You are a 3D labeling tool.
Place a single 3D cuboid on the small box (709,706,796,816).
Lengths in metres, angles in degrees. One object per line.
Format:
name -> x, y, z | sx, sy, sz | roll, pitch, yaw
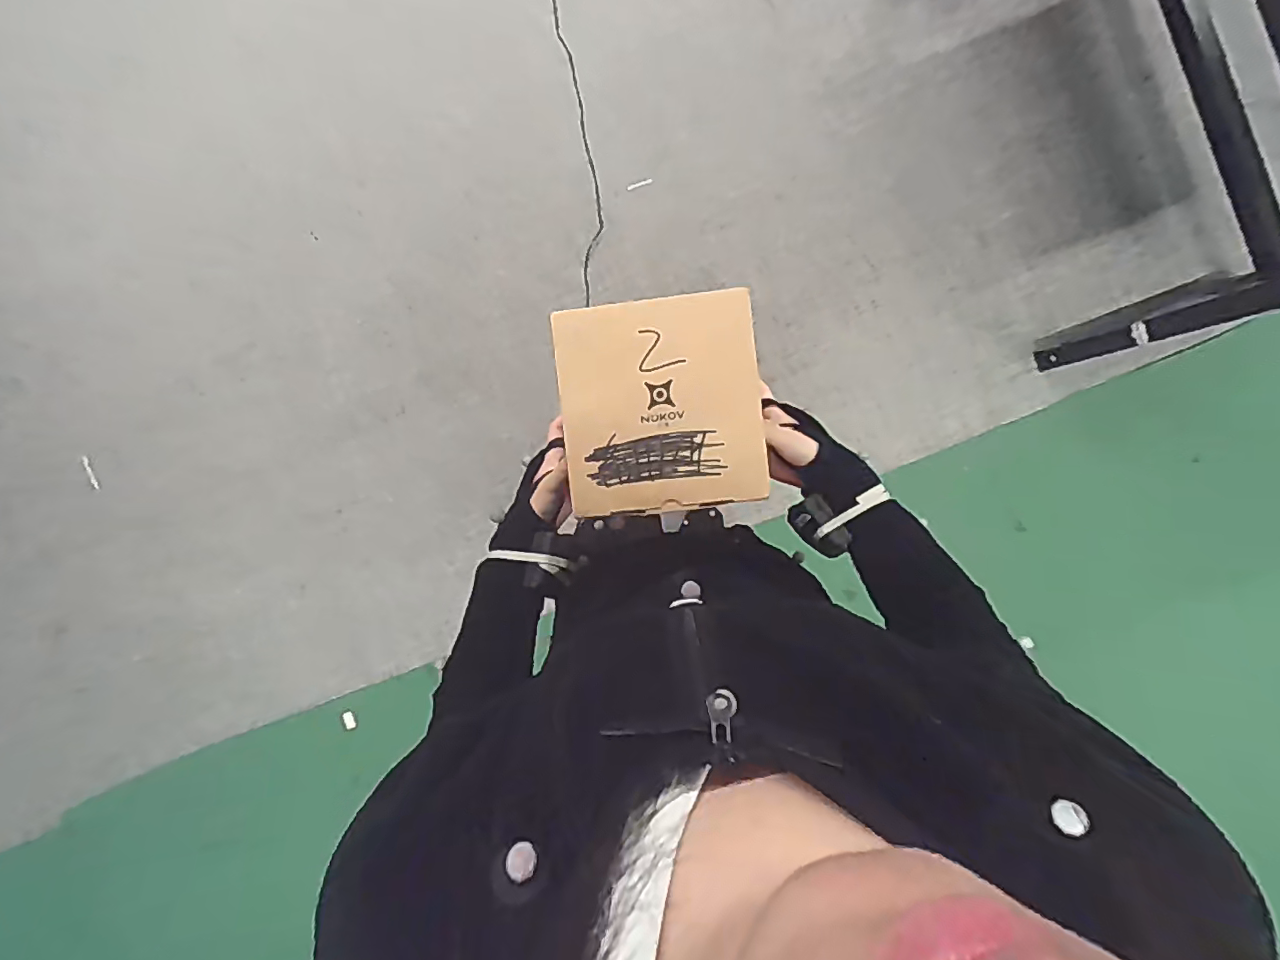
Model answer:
small box -> 0.290, 0.733, 1.426 | 0.168, 0.176, 0.179 | -20, 90, 2
